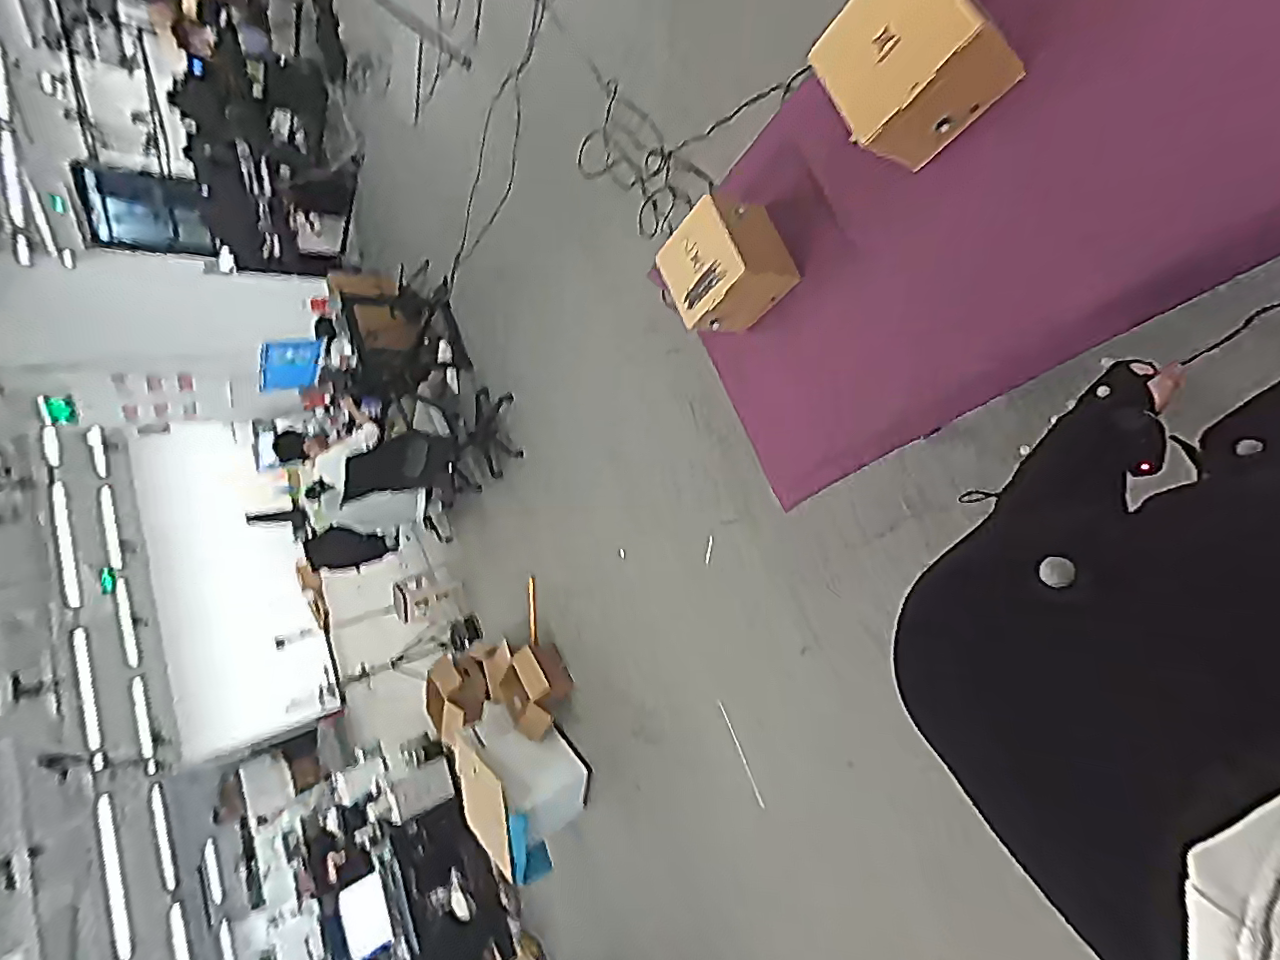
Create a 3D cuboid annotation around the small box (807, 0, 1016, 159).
[{"bbox_3d":[0.373,-0.584,0.746,0.168,0.176,0.179,-37,72,47],"label":"small box"}]
